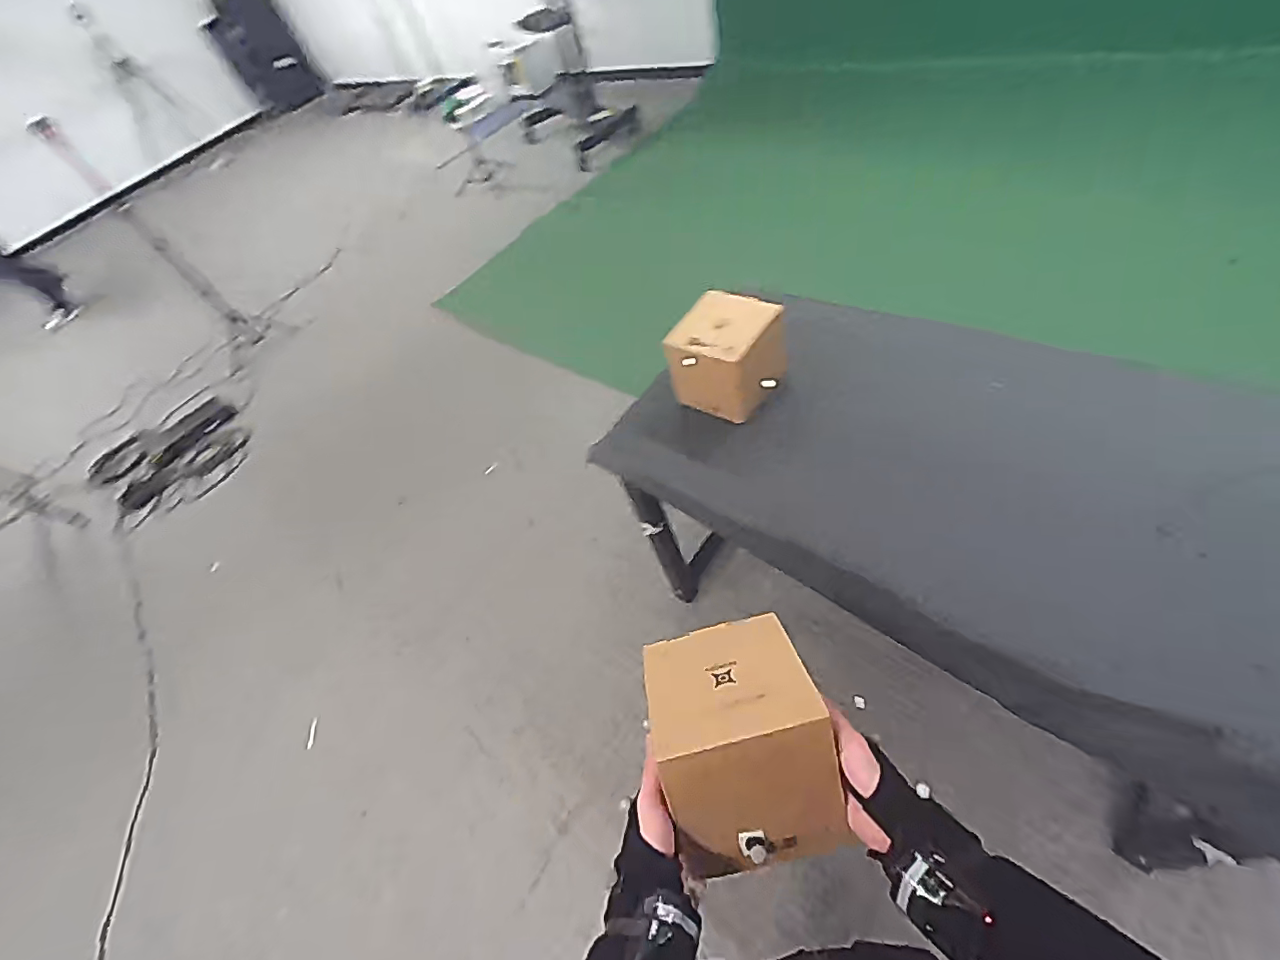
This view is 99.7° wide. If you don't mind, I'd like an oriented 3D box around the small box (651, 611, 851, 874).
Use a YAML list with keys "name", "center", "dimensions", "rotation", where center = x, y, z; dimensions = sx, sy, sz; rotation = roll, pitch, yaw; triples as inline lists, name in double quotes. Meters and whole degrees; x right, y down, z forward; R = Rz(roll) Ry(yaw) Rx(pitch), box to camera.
- name: "small box"
  center: [0.112, 0.274, 0.588]
  dimensions: [0.168, 0.176, 0.179]
  rotation: [-14, 19, 2]

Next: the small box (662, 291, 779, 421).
- name: "small box"
  center: [0.170, -0.253, 1.105]
  dimensions: [0.168, 0.176, 0.179]
  rotation: [25, 63, 32]
